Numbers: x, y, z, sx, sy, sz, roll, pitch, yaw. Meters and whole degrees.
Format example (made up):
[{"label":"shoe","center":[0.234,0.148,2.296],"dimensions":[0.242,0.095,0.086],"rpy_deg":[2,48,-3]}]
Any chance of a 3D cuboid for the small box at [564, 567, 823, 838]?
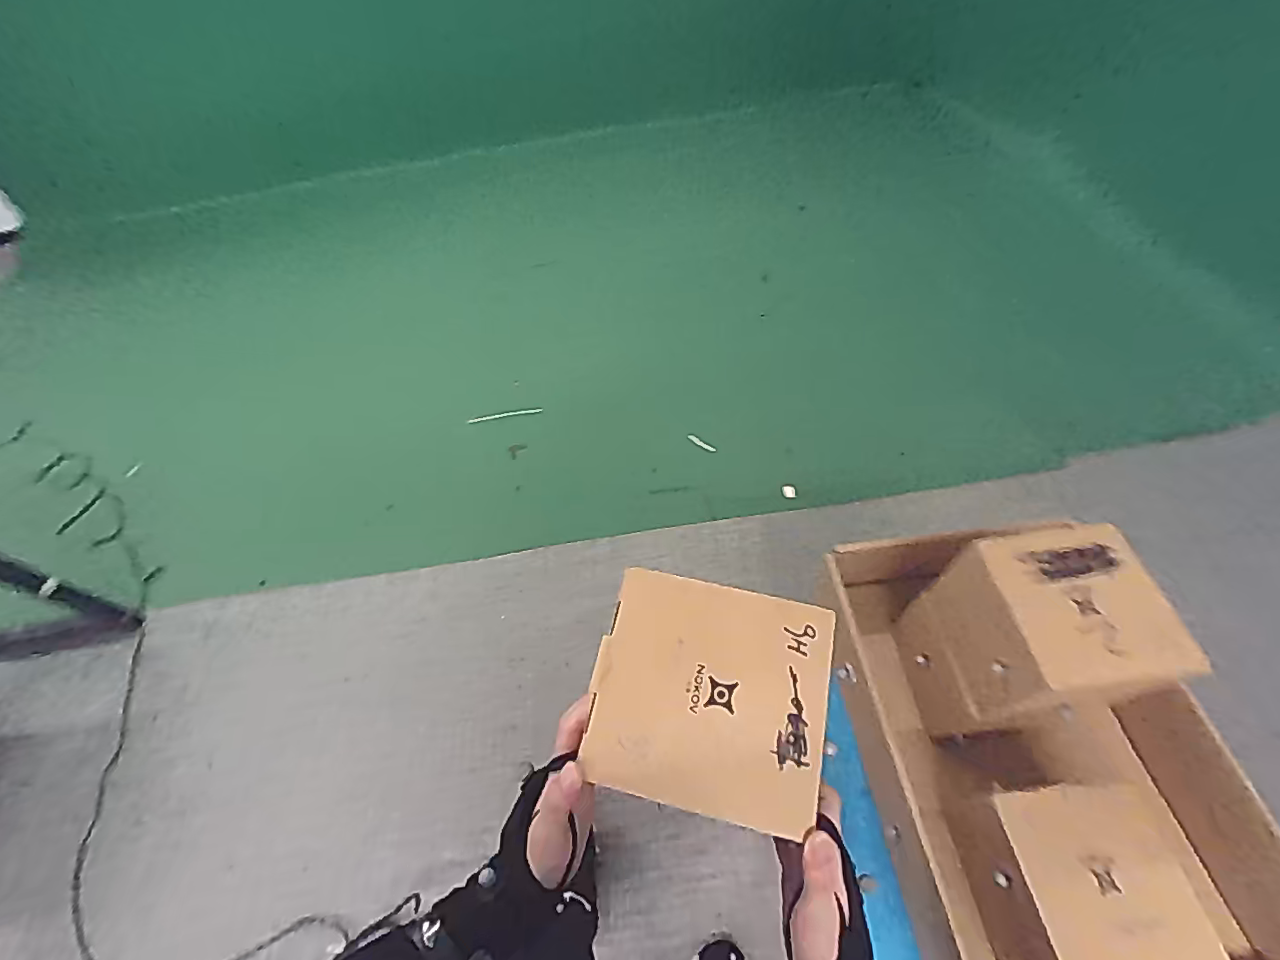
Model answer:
[{"label":"small box","center":[0.052,0.195,0.489],"dimensions":[0.179,0.176,0.168],"rpy_deg":[10,67,11]}]
